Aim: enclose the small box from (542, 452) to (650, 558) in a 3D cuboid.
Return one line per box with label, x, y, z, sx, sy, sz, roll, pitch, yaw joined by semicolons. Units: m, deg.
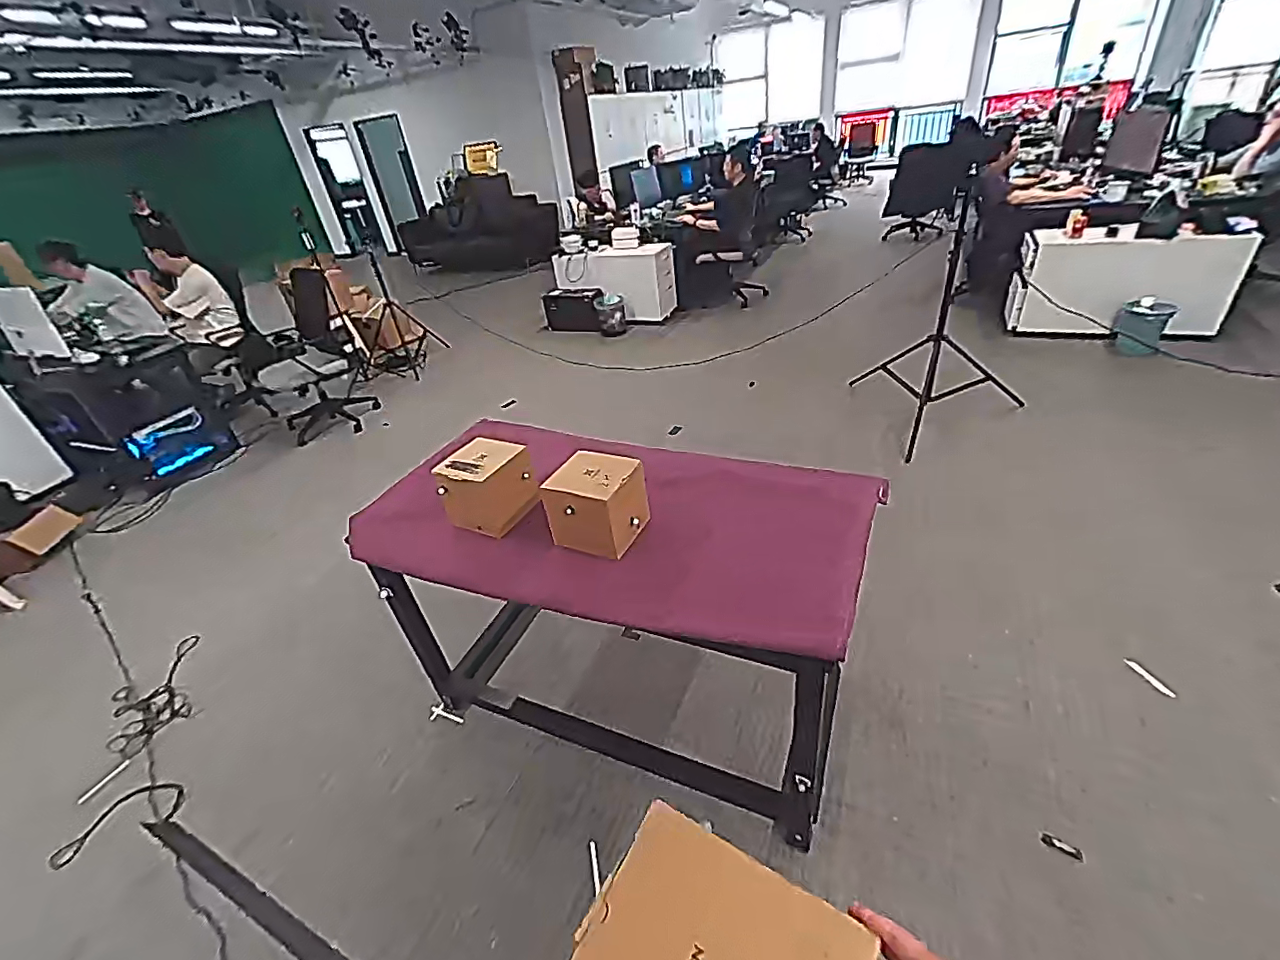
small box;-0.094;0.056;1.244;0.179;0.176;0.168;11;38;26
